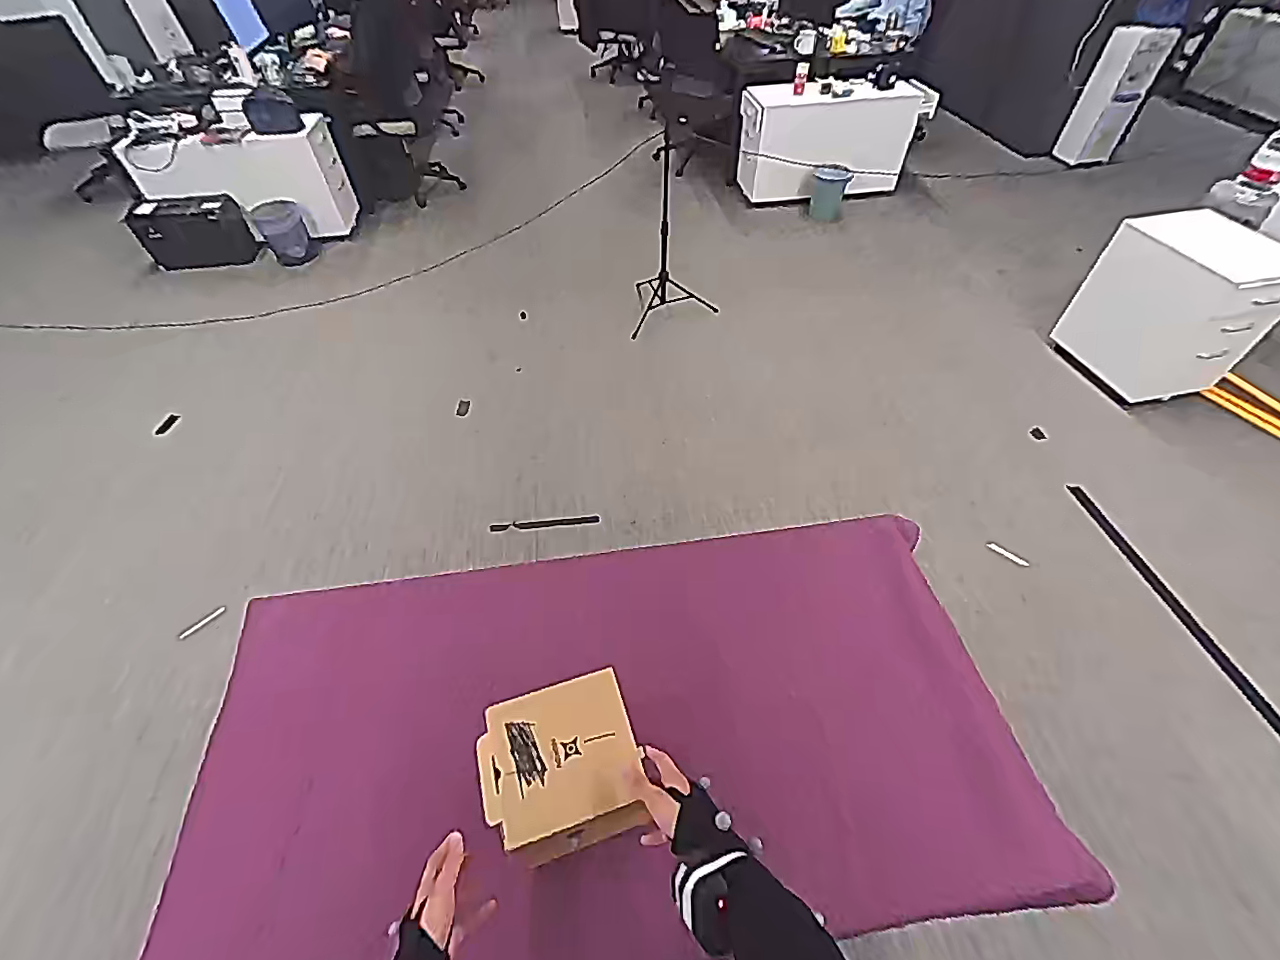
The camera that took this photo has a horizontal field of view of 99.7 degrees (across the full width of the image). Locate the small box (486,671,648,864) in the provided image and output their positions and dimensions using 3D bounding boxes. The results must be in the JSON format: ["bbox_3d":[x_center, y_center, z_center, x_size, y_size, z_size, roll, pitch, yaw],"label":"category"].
[{"bbox_3d":[-0.094,0.389,0.728,0.179,0.176,0.168,-14,51,-12],"label":"small box"}]
